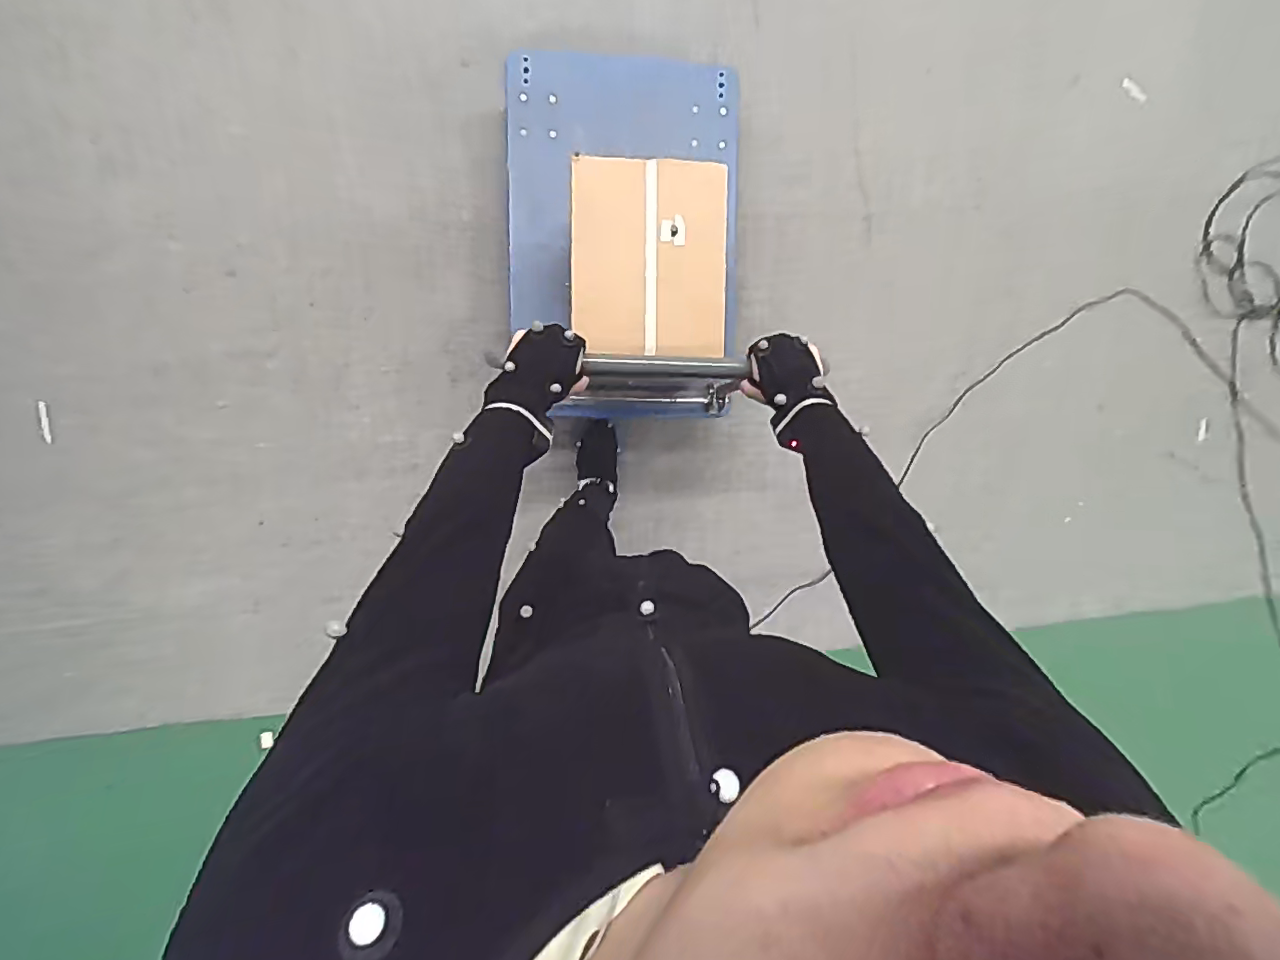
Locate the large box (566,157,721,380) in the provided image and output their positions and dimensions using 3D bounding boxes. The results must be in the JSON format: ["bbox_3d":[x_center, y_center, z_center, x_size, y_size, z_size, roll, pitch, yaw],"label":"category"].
[{"bbox_3d":[-0.005,-0.446,1.233,0.320,0.320,0.408,-1,94,-7],"label":"large box"}]
